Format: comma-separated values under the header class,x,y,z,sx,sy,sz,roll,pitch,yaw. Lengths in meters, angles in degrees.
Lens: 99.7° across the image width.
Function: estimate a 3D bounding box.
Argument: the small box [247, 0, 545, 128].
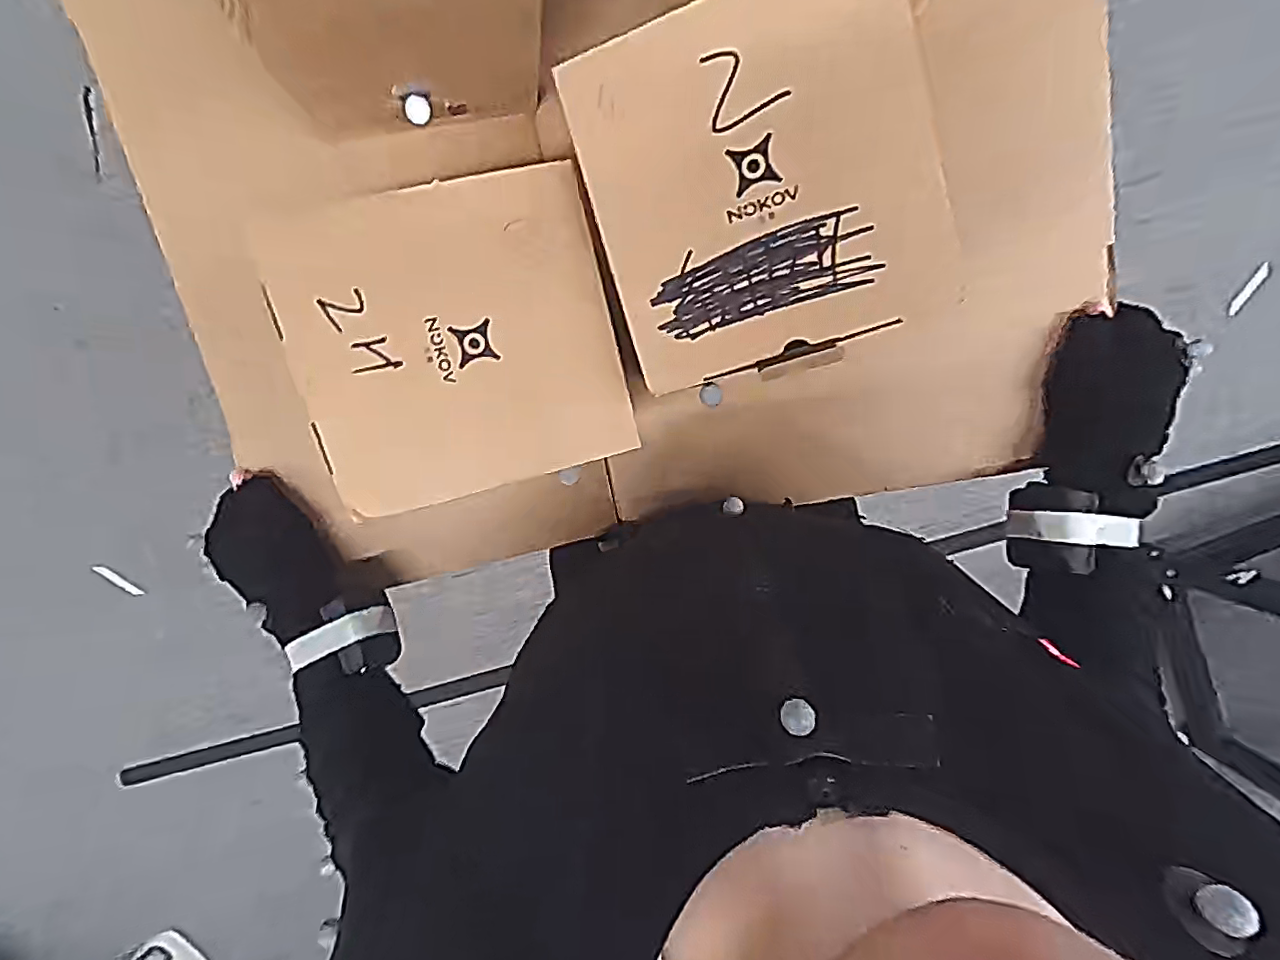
class,x,y,z,sx,sy,sz,roll,pitch,yaw
small box,-0.159,-0.352,0.325,0.168,0.176,0.179,-14,103,-9
